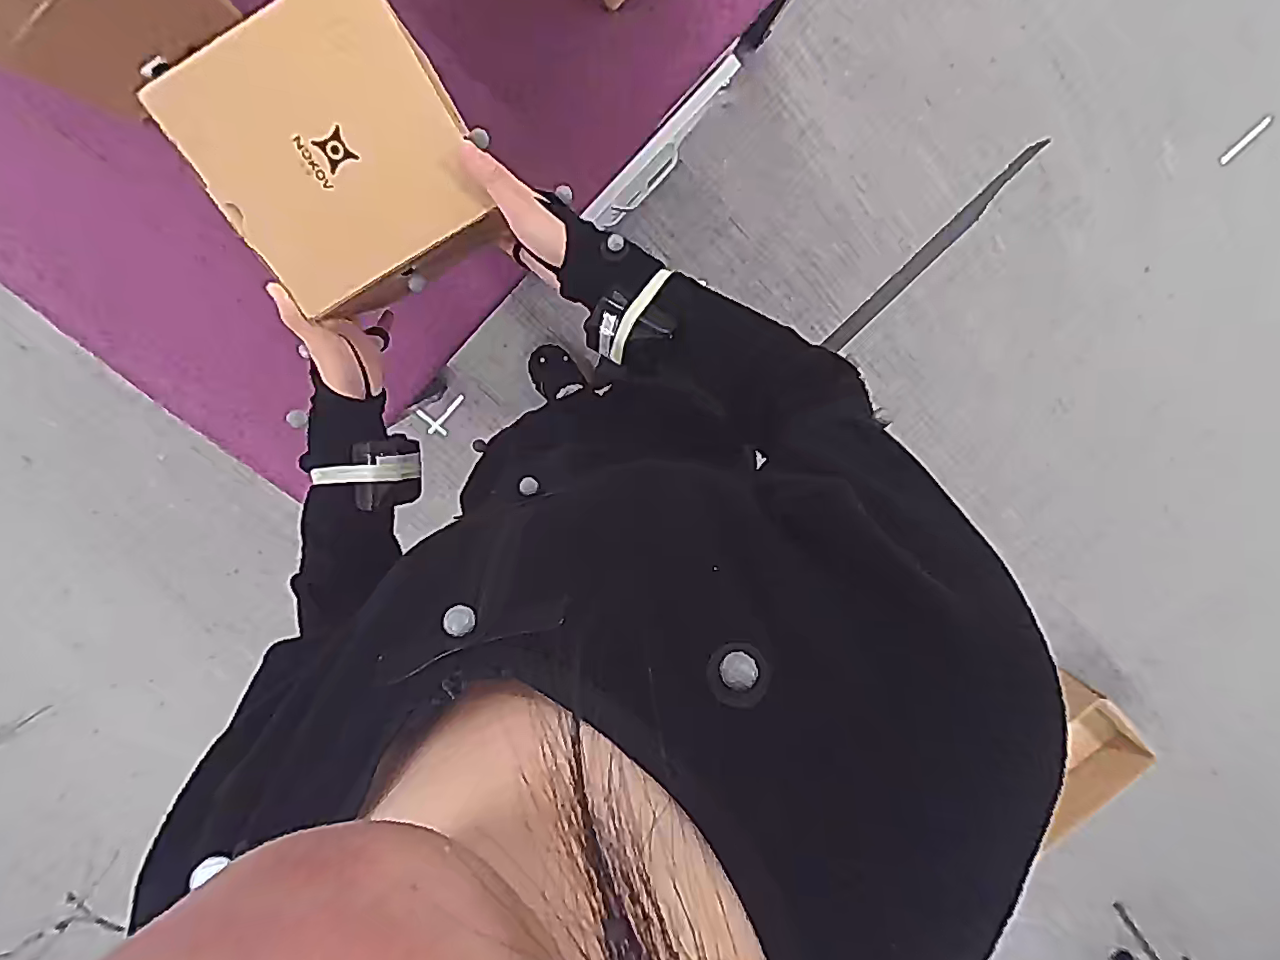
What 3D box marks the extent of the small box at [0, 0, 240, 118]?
[{"bbox_3d":[-0.521,-0.471,0.477,0.168,0.176,0.179,-39,109,7],"label":"small box"}]
